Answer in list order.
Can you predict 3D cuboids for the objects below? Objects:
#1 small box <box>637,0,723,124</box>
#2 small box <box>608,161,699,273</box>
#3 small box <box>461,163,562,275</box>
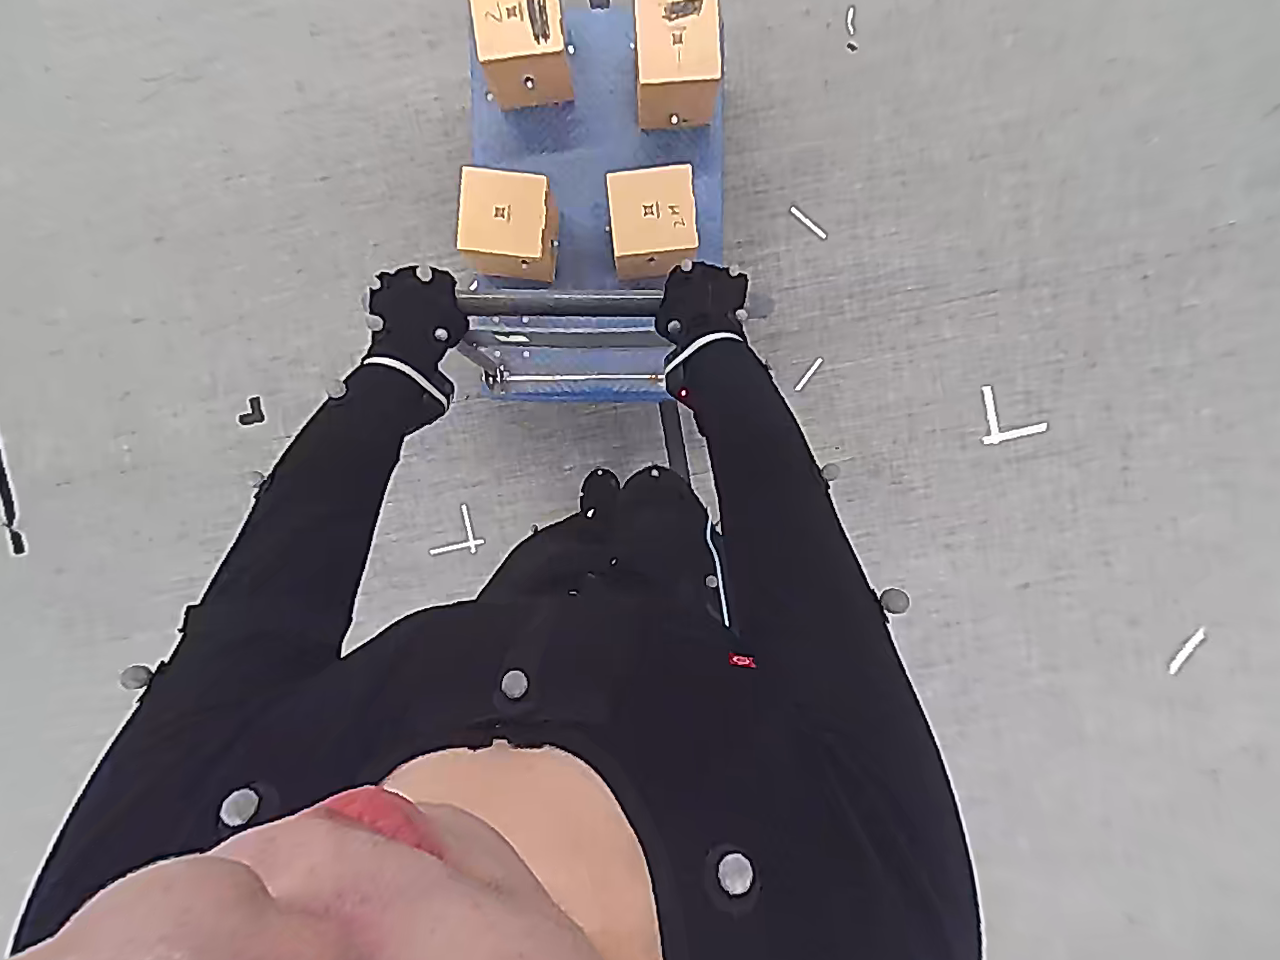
[{"bbox_3d":[0.080,-0.897,1.149,0.168,0.176,0.179,-3,96,1],"label":"small box"},{"bbox_3d":[0.030,-0.564,1.180,0.179,0.176,0.168,-6,95,1],"label":"small box"},{"bbox_3d":[-0.275,-0.561,1.182,0.179,0.176,0.168,5,95,-2],"label":"small box"}]
